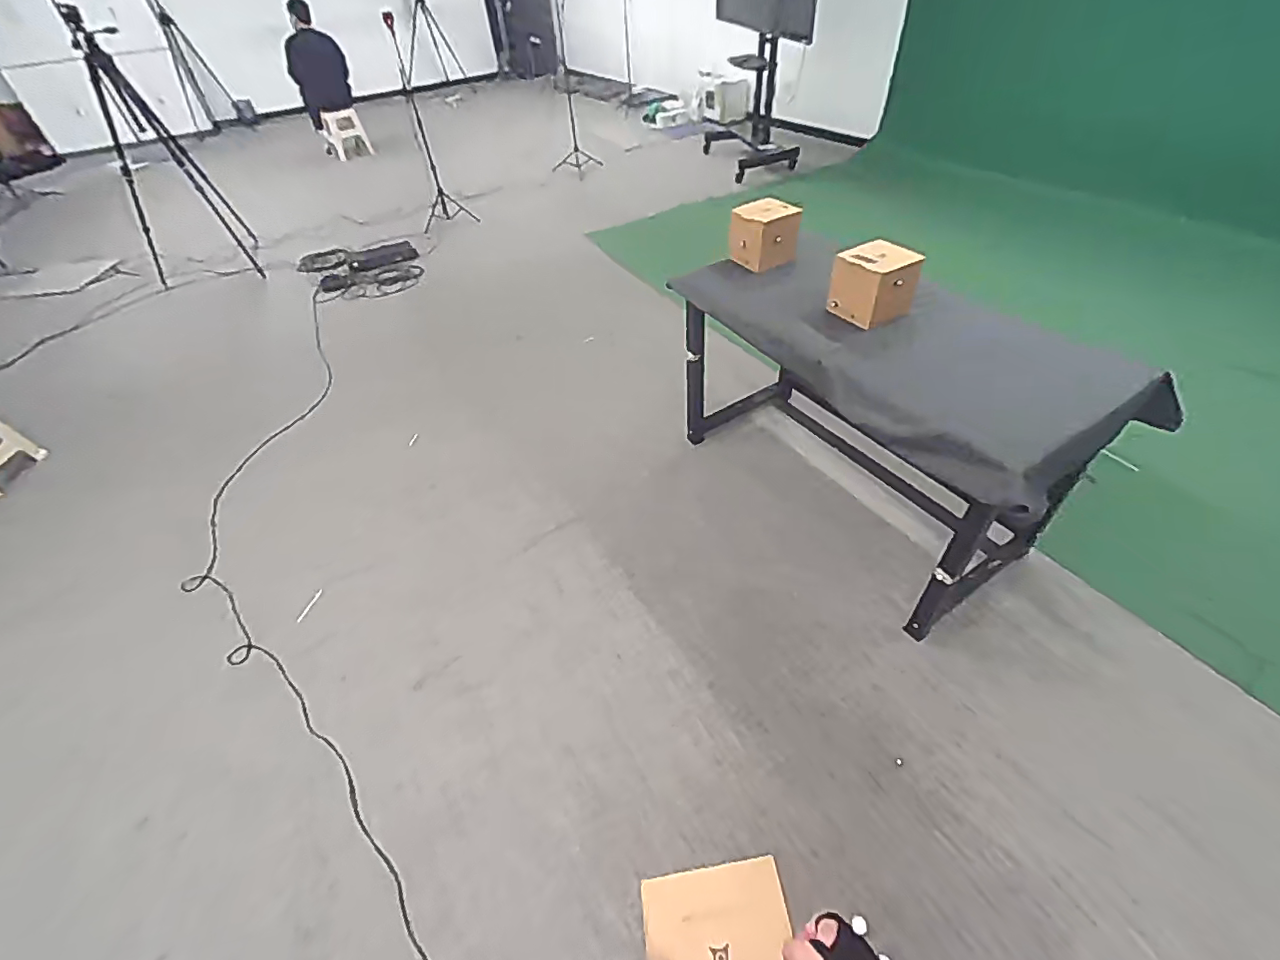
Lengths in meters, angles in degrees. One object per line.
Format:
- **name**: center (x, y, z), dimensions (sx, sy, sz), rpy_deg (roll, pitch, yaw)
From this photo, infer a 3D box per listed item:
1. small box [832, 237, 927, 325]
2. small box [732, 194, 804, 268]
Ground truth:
- **small box**: center (0.676, -0.569, 1.551), dimensions (0.179, 0.176, 0.168), rpy_deg (-25, 49, -19)
- **small box**: center (0.430, -0.847, 1.846), dimensions (0.179, 0.176, 0.168), rpy_deg (-27, 51, -19)
